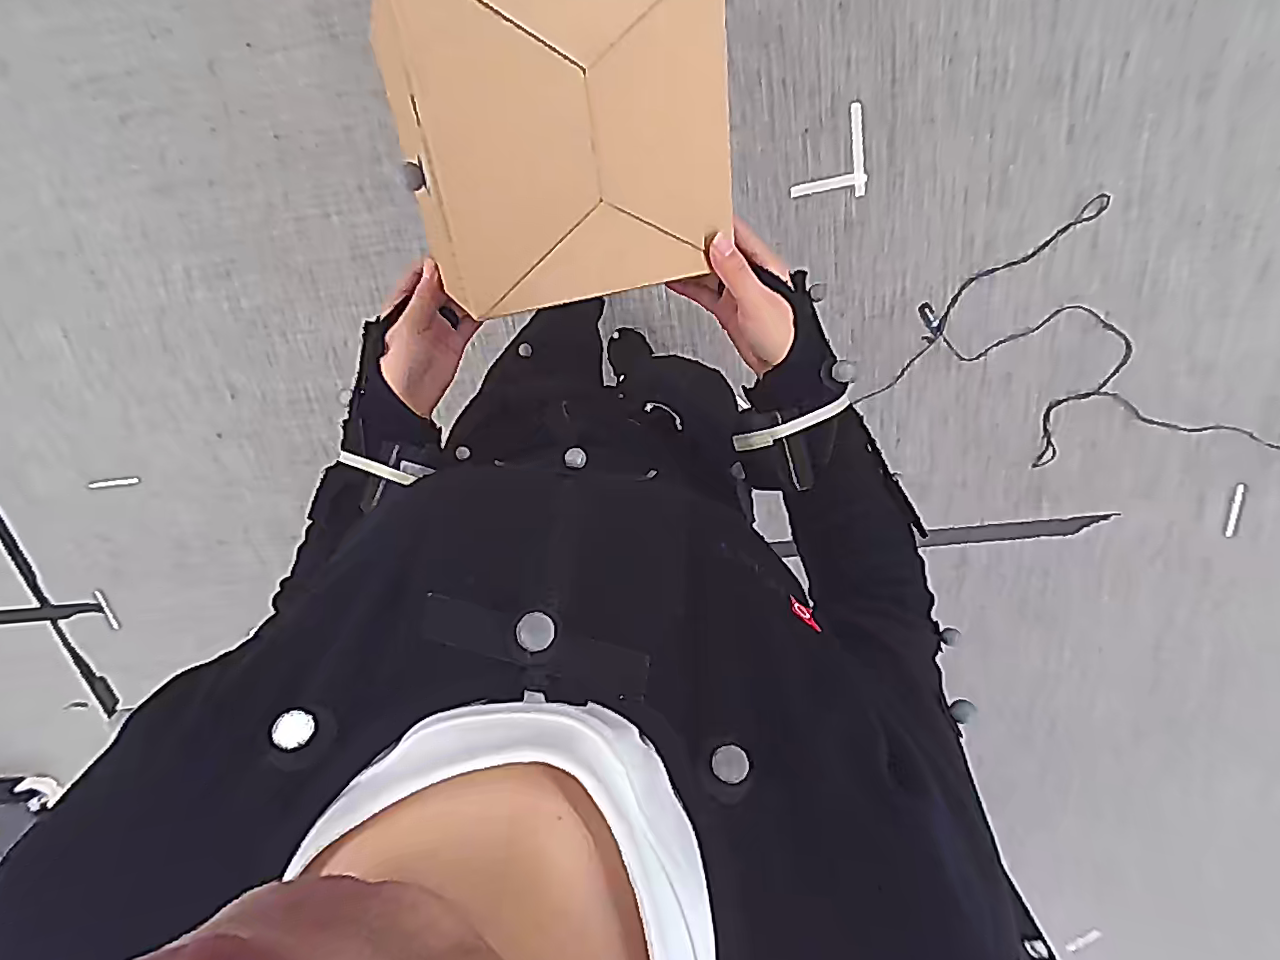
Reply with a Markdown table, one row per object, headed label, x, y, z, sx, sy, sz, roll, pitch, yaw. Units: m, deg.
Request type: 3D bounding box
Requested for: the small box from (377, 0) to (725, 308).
| label | x | y | z | sx | sy | sz | roll | pitch | yaw |
| --- | --- | --- | --- | --- | --- | --- | --- | --- | --- |
| small box | -0.058 | -0.222 | 0.366 | 0.179 | 0.176 | 0.168 | -18 | 120 | -19 |
